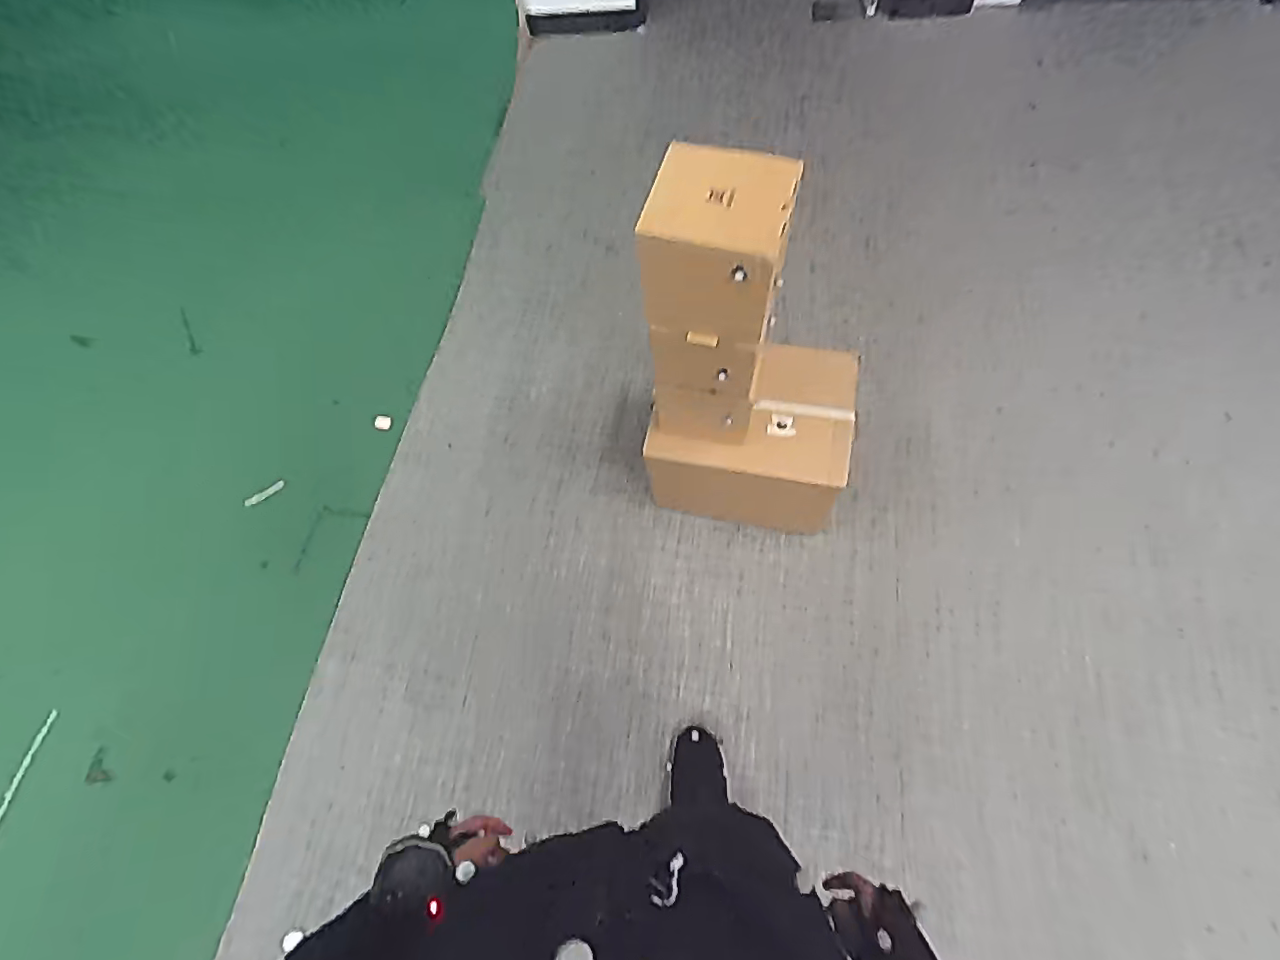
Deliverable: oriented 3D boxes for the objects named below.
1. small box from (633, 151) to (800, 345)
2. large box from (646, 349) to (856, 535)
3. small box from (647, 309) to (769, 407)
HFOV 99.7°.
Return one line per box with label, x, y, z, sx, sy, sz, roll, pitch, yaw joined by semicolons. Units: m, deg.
small box;0.102;-0.309;0.741;0.179;0.176;0.168;14;68;10
large box;0.245;-0.088;1.253;0.408;0.320;0.320;10;69;10
small box;0.117;-0.244;0.890;0.168;0.176;0.179;13;68;9
